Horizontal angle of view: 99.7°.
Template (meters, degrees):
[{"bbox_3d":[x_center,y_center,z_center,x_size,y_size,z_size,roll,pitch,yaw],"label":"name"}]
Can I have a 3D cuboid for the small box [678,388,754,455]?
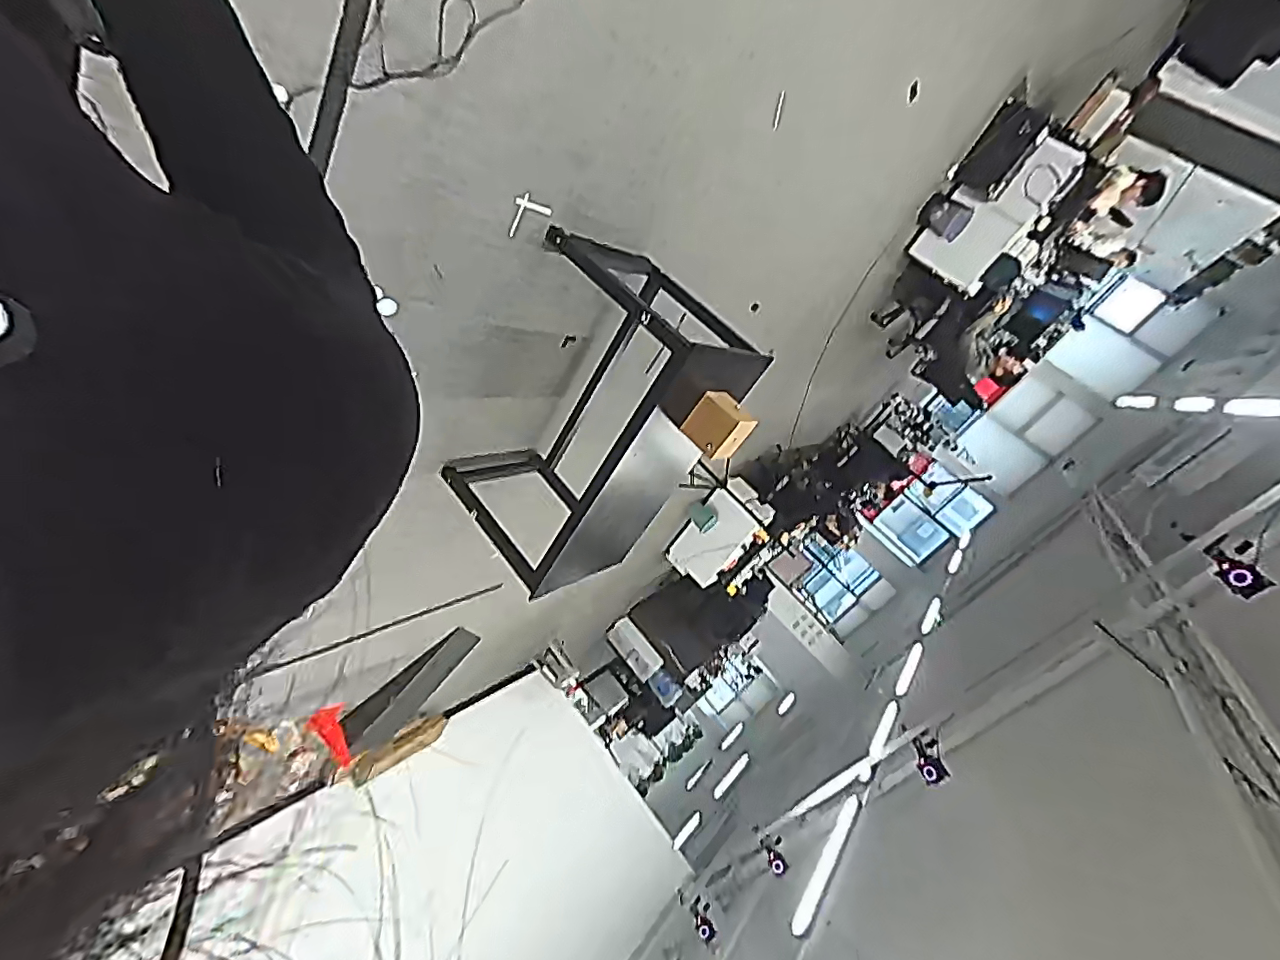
[{"bbox_3d":[0.269,-0.215,1.933,0.168,0.176,0.179,-11,143,-55],"label":"small box"}]
